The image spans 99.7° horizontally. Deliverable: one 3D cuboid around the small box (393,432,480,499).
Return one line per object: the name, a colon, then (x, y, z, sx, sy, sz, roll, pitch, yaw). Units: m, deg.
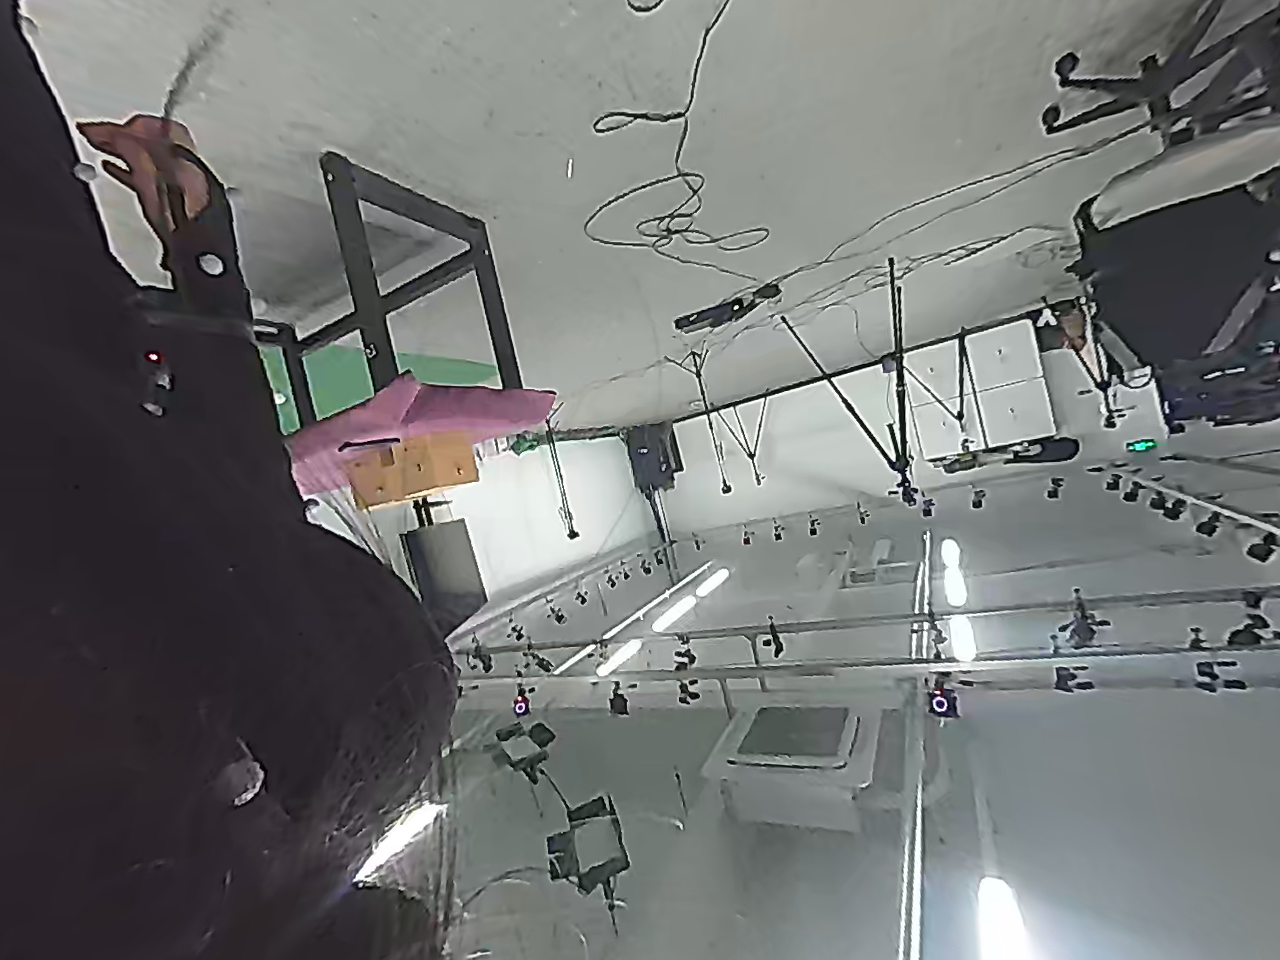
small box: (-0.638, -0.049, 1.690, 0.168, 0.176, 0.179, -14, -179, 29)
